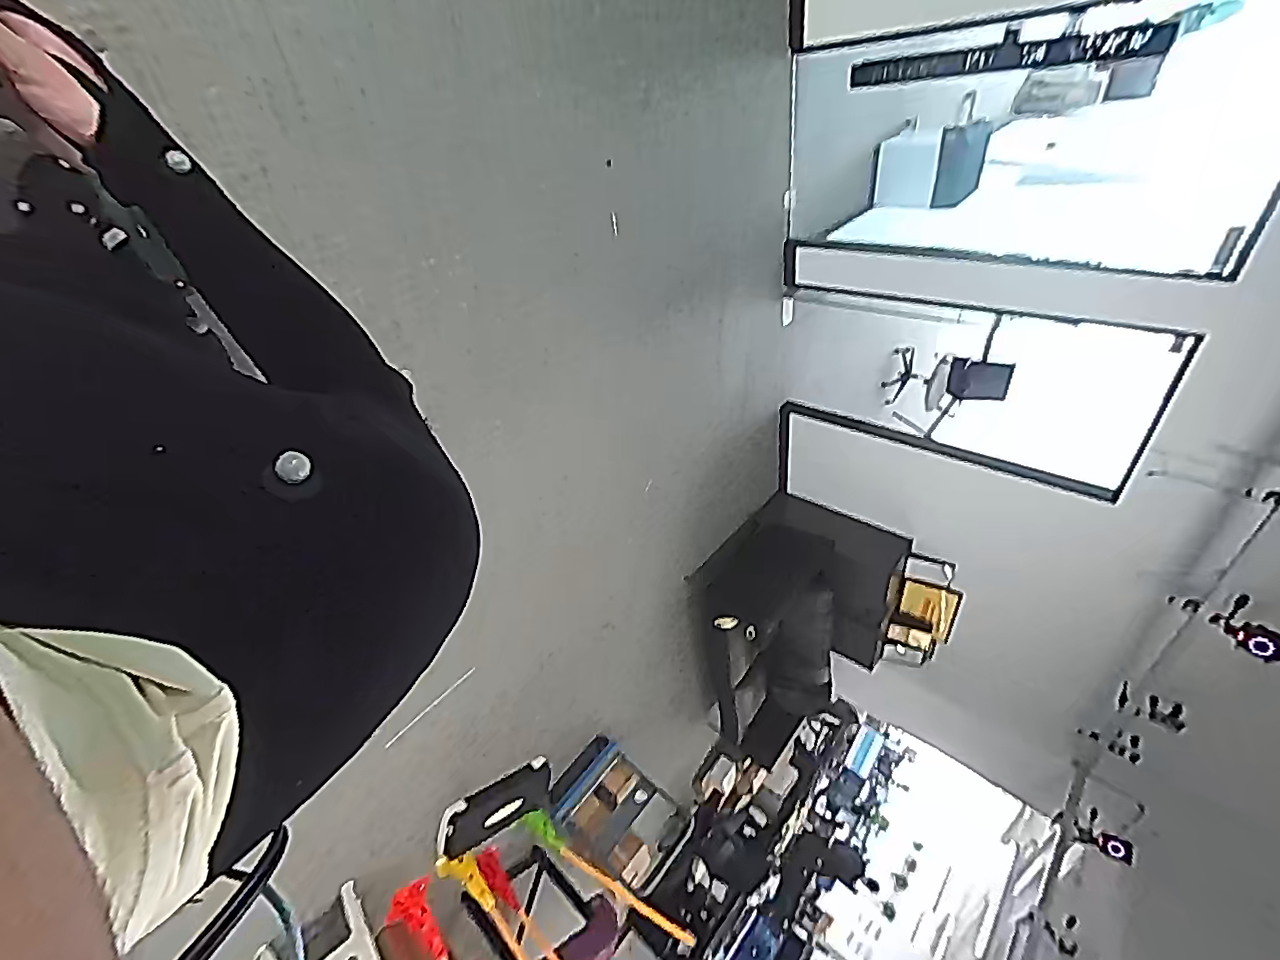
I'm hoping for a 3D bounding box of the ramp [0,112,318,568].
[{"bbox_3d":[-1.197,-0.232,1.264,0.509,0.206,0.991,-42,138,-31],"label":"ramp"}]
